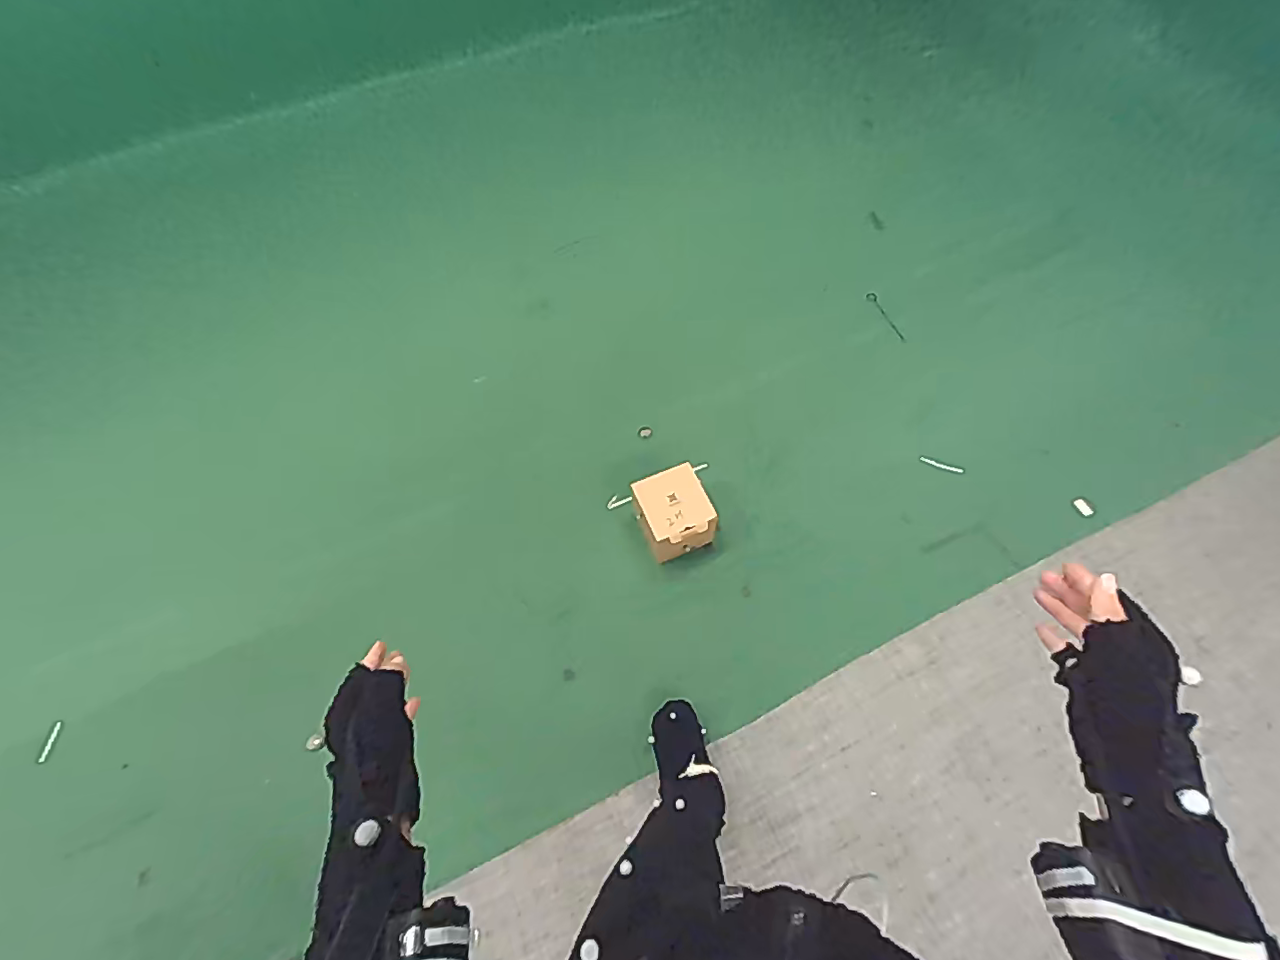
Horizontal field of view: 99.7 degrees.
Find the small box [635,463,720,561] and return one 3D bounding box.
[{"bbox_3d":[0.093,0.088,1.428,0.168,0.176,0.179,-21,64,-8],"label":"small box"}]
